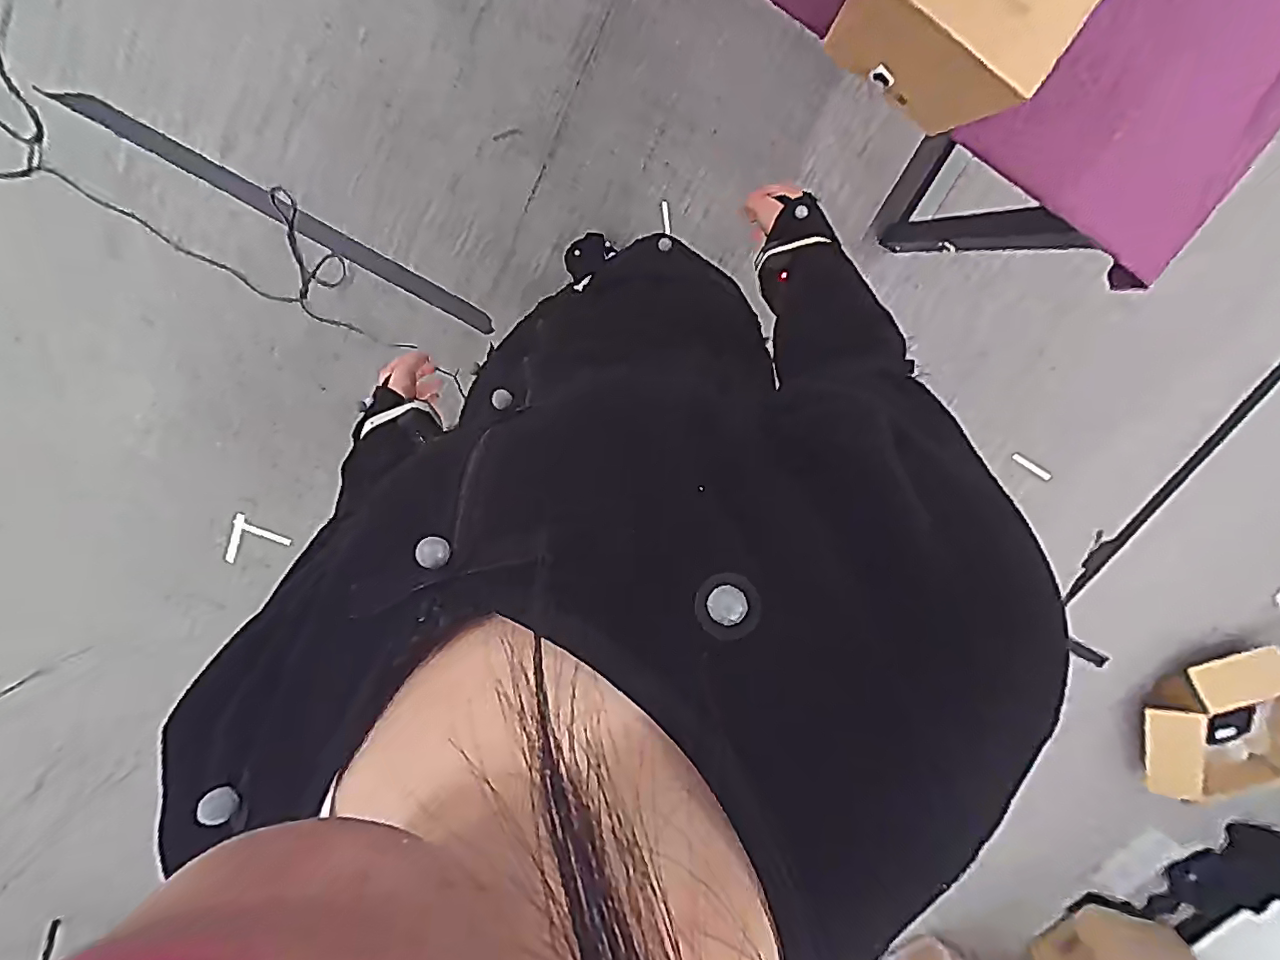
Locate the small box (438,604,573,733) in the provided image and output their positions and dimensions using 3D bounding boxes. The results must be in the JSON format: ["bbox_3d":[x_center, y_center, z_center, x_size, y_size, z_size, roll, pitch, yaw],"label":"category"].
[{"bbox_3d":[-0.230,0.360,0.968,0.168,0.176,0.179,27,109,-13],"label":"small box"}]

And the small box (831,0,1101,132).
[{"bbox_3d":[0.311,-0.469,0.504,0.168,0.176,0.179,27,110,-12],"label":"small box"}]

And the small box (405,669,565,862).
[{"bbox_3d":[-0.222,0.421,0.816,0.168,0.176,0.179,26,109,-13],"label":"small box"}]
